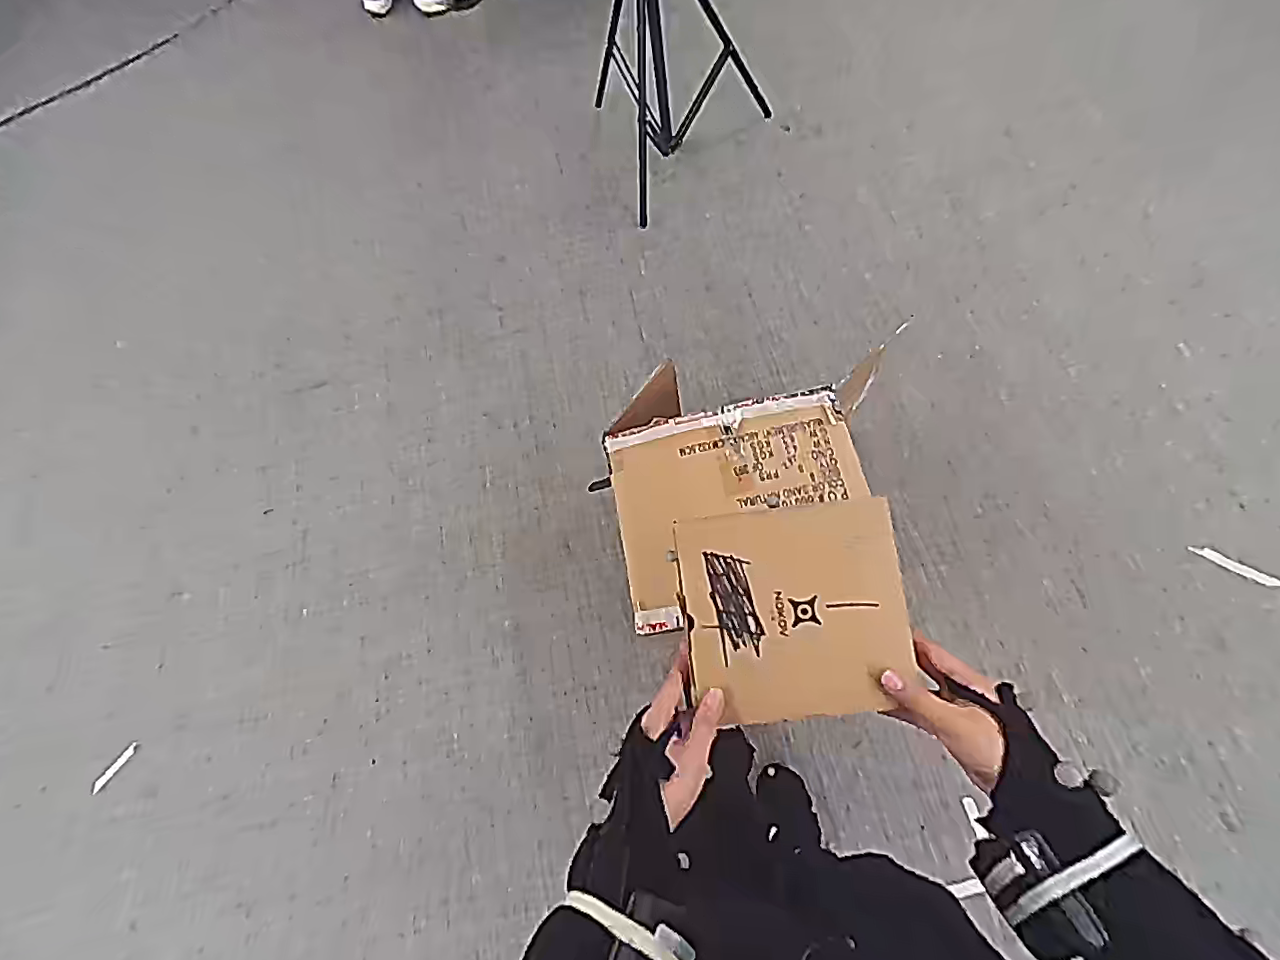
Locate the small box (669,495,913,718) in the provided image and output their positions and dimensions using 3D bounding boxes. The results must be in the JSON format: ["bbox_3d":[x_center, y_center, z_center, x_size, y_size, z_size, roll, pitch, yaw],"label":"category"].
[{"bbox_3d":[0.126,0.111,0.516,0.179,0.176,0.168,-7,83,4],"label":"small box"}]
